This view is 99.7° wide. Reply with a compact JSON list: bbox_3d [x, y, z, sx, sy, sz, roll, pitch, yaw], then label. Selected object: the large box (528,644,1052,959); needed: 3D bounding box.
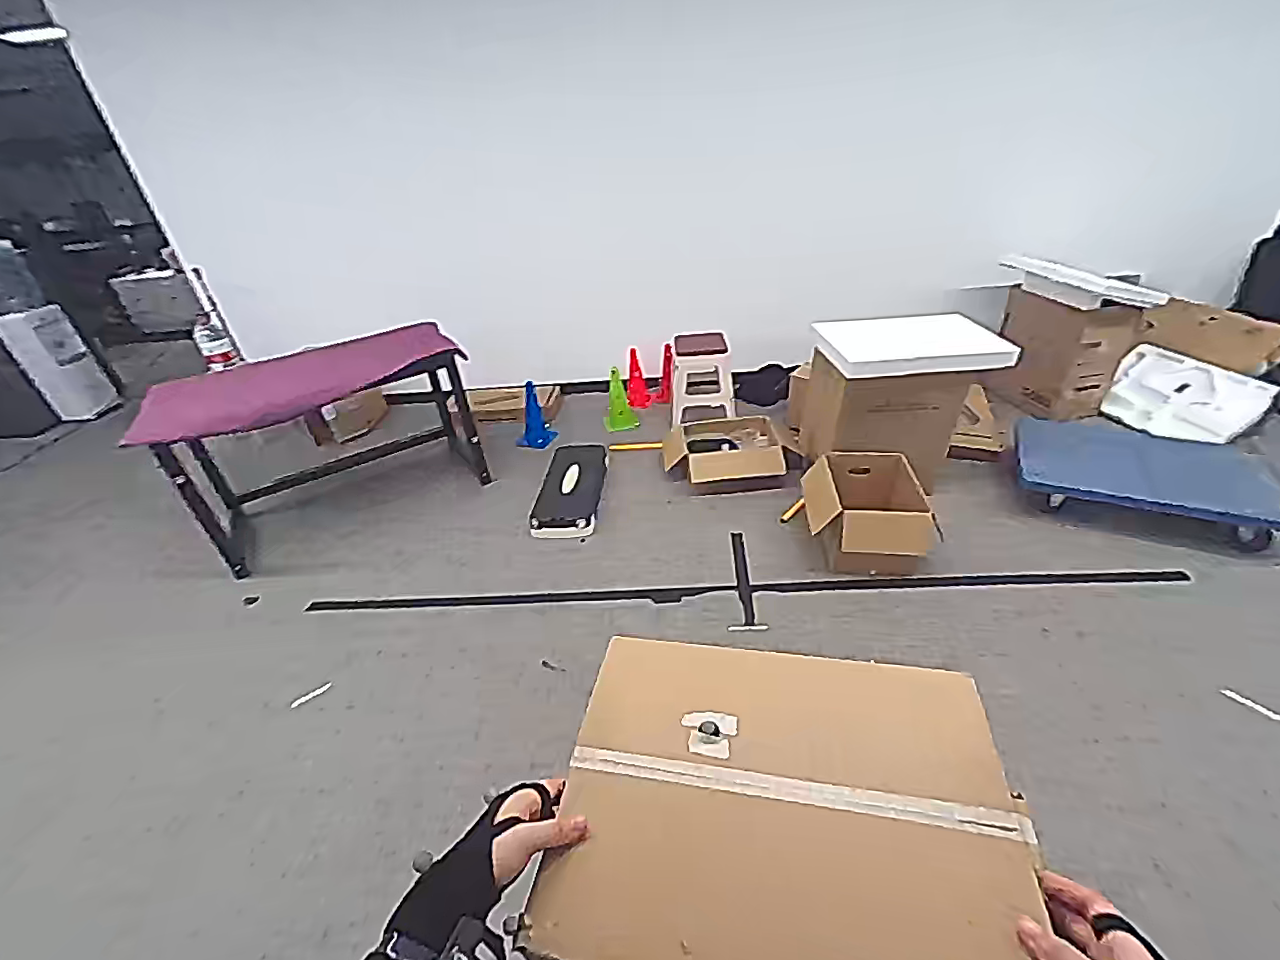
[{"bbox_3d":[0.152,0.415,0.599,0.408,0.320,0.320,0,35,15],"label":"large box"}]
